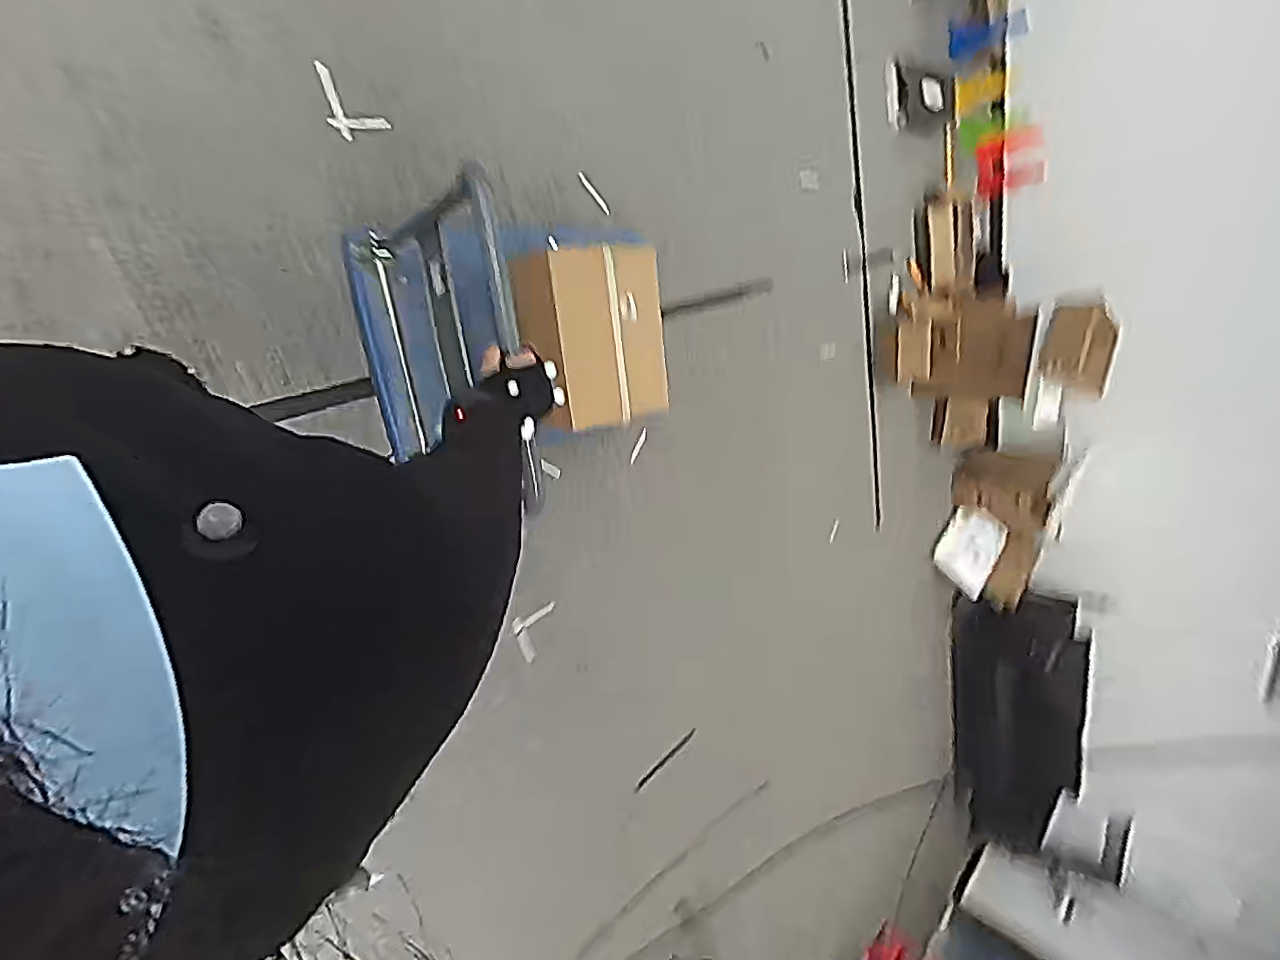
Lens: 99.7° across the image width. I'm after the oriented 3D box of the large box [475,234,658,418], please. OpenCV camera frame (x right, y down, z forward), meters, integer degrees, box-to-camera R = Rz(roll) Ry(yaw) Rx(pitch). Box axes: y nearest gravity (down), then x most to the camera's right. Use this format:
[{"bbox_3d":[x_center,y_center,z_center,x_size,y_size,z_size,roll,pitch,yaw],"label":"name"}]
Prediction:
[{"bbox_3d":[-0.189,-0.392,1.407,0.320,0.320,0.408,-20,110,-38],"label":"large box"}]
